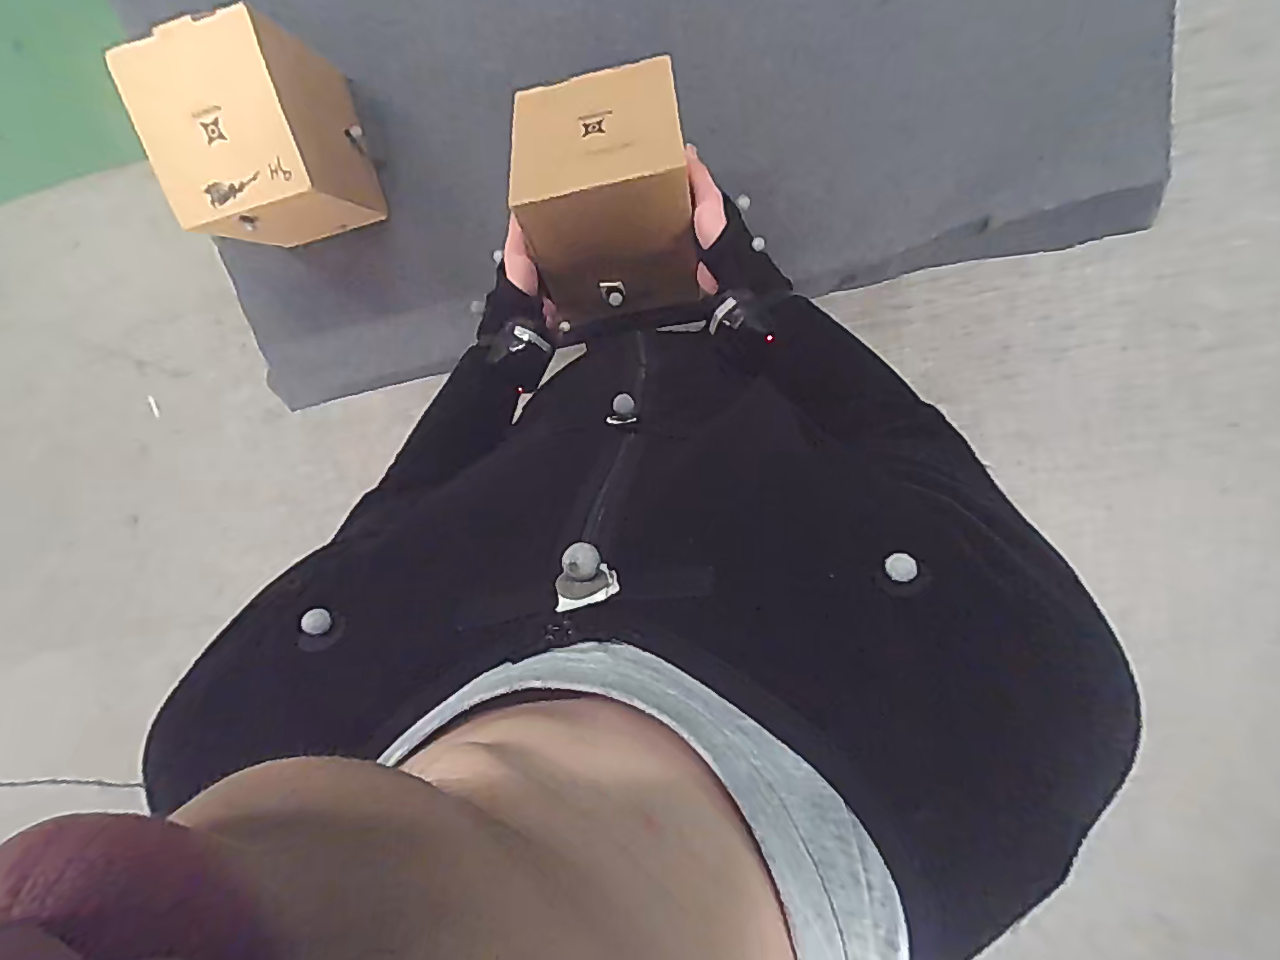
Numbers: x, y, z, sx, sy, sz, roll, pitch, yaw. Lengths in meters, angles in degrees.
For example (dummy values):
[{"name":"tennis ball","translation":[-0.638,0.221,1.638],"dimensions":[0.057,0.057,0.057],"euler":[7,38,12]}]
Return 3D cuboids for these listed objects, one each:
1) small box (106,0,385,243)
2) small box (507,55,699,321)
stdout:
[{"name":"small box","translation":[-0.440,-0.399,0.637],"dimensions":[0.168,0.176,0.179],"euler":[-12,106,9]},{"name":"small box","translation":[-0.031,-0.303,0.585],"dimensions":[0.168,0.176,0.179],"euler":[-8,65,8]}]
